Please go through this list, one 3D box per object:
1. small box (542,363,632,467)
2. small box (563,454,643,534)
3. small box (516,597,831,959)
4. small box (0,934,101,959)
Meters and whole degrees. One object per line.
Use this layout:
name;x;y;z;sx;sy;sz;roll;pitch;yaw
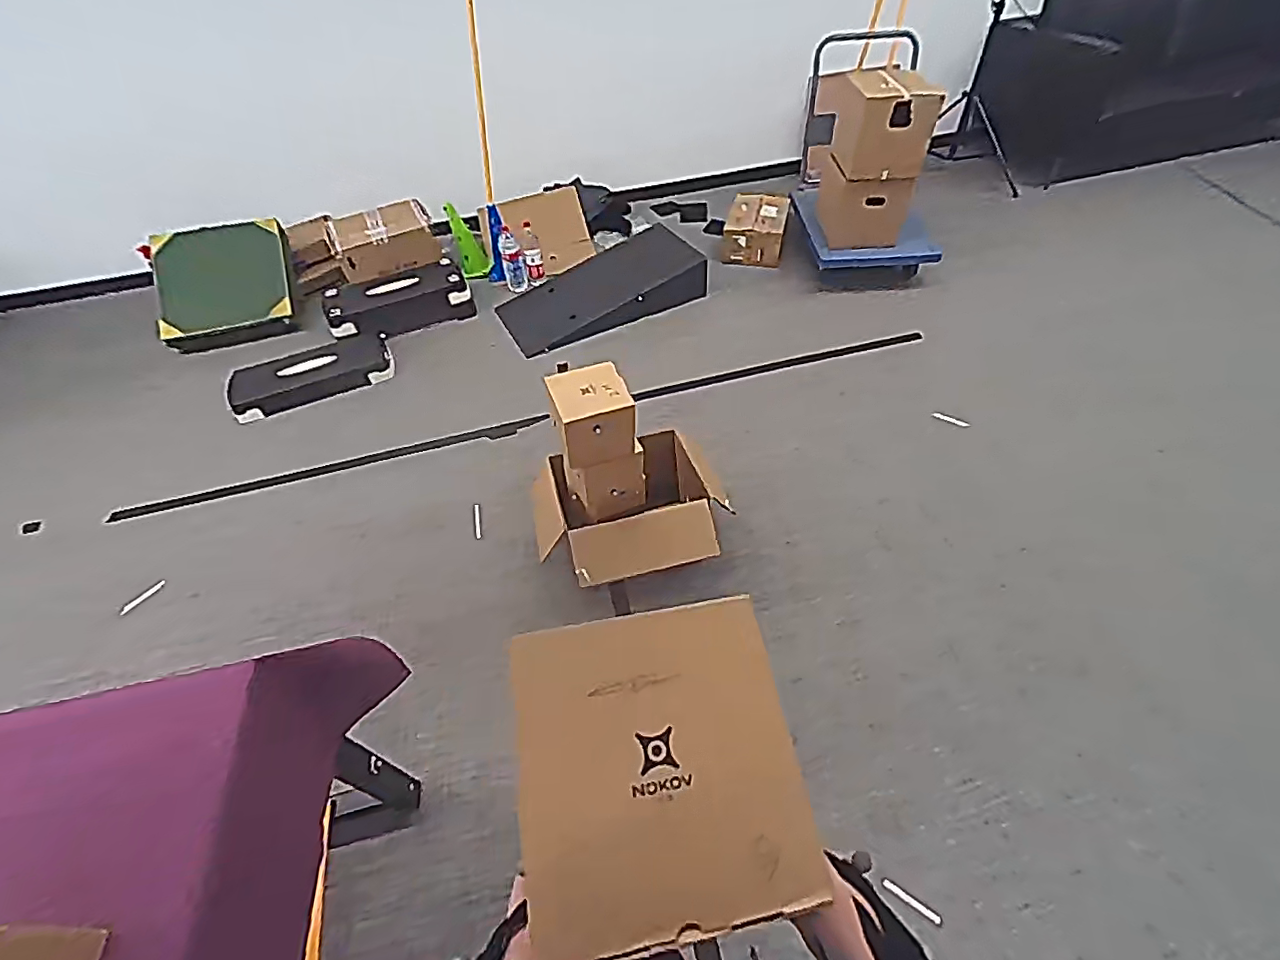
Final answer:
small box;-0.125;-0.155;1.324;0.179;0.176;0.168;-17;54;-14
small box;-0.106;0.030;1.598;0.179;0.176;0.168;-28;56;-23
small box;0.009;0.203;0.393;0.168;0.176;0.179;-7;61;-7
small box;-0.666;0.529;0.486;0.179;0.176;0.168;-11;49;-4
